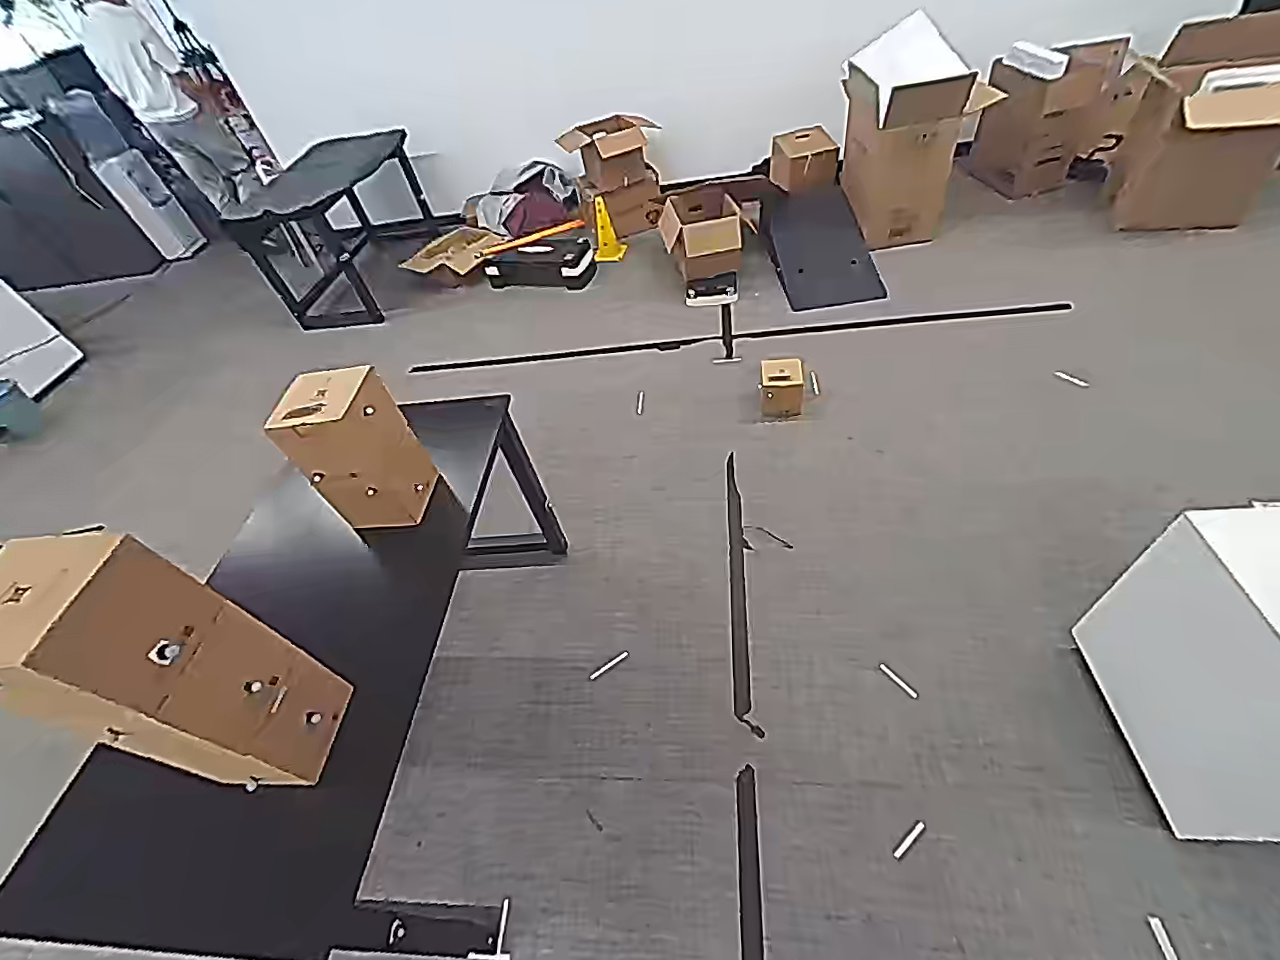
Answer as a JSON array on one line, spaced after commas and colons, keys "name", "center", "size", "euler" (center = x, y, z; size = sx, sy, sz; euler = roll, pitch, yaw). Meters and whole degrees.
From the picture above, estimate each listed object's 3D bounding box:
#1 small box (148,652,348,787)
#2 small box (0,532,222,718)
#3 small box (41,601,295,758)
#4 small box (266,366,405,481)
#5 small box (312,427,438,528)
[{"name": "small box", "center": [-0.629, 0.399, 0.899], "size": [0.179, 0.176, 0.168], "euler": [-4, 47, 7]}, {"name": "small box", "center": [-0.680, 0.181, 0.660], "size": [0.179, 0.176, 0.168], "euler": [-4, 49, 8]}, {"name": "small box", "center": [-0.656, 0.290, 0.778], "size": [0.179, 0.176, 0.168], "euler": [-4, 48, 8]}, {"name": "small box", "center": [-0.622, -0.111, 1.134], "size": [0.168, 0.176, 0.179], "euler": [-6, 47, 6]}, {"name": "small box", "center": [-0.603, -0.001, 1.256], "size": [0.179, 0.176, 0.168], "euler": [-4, 48, 8]}]
